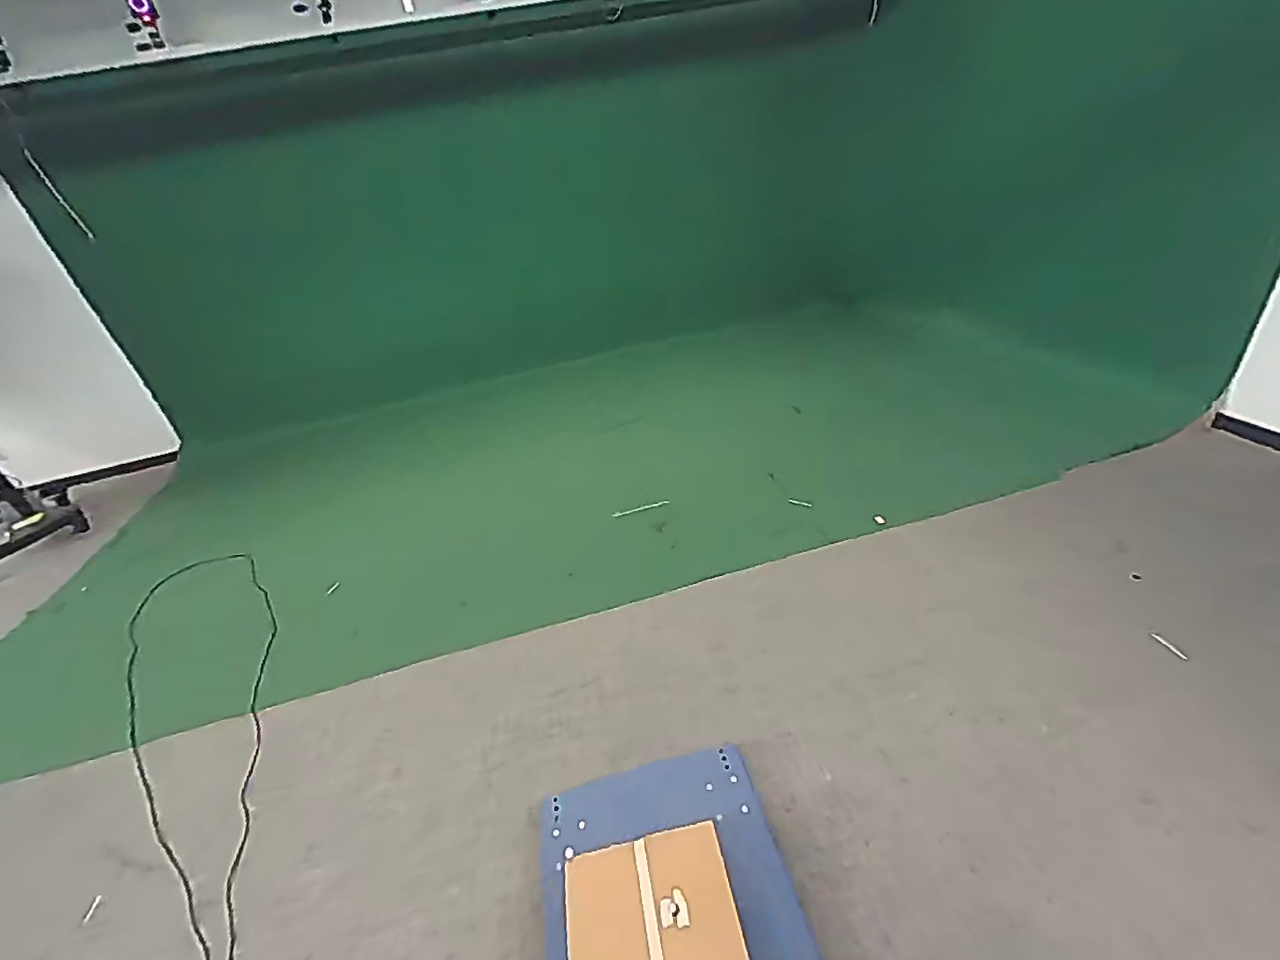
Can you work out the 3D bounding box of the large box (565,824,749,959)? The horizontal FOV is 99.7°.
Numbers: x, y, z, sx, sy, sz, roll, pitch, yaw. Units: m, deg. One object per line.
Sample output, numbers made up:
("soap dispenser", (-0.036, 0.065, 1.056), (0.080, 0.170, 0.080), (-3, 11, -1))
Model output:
("large box", (0.056, 0.964, 1.012), (0.320, 0.320, 0.408), (-12, 31, -3))
